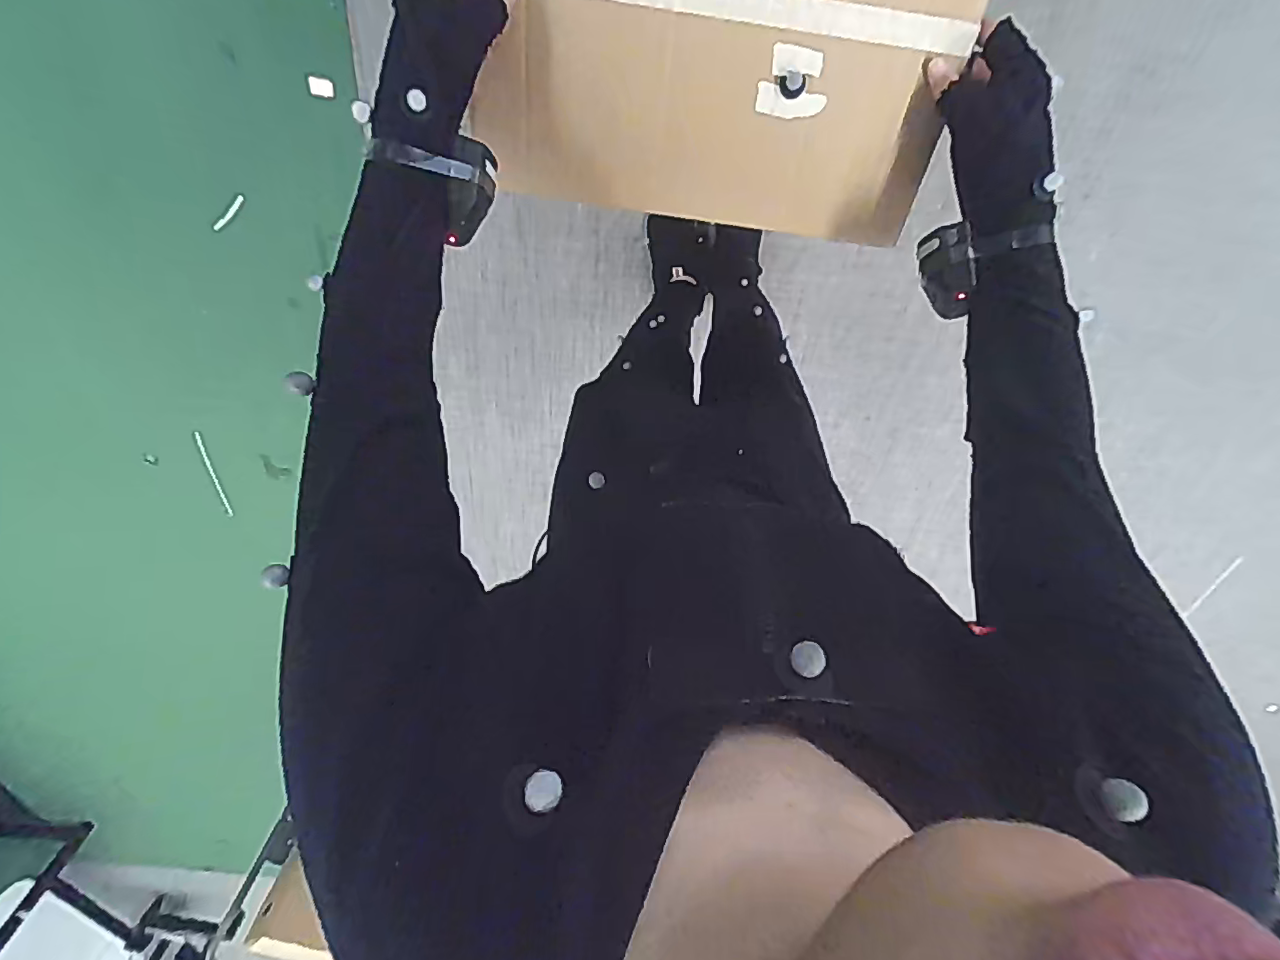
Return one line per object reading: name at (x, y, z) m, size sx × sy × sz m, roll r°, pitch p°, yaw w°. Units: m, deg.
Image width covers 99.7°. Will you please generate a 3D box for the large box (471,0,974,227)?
large box at (0.064, -0.471, 0.544) m, size 0.408 × 0.320 × 0.320 m, roll 6°, pitch 126°, yaw -4°
